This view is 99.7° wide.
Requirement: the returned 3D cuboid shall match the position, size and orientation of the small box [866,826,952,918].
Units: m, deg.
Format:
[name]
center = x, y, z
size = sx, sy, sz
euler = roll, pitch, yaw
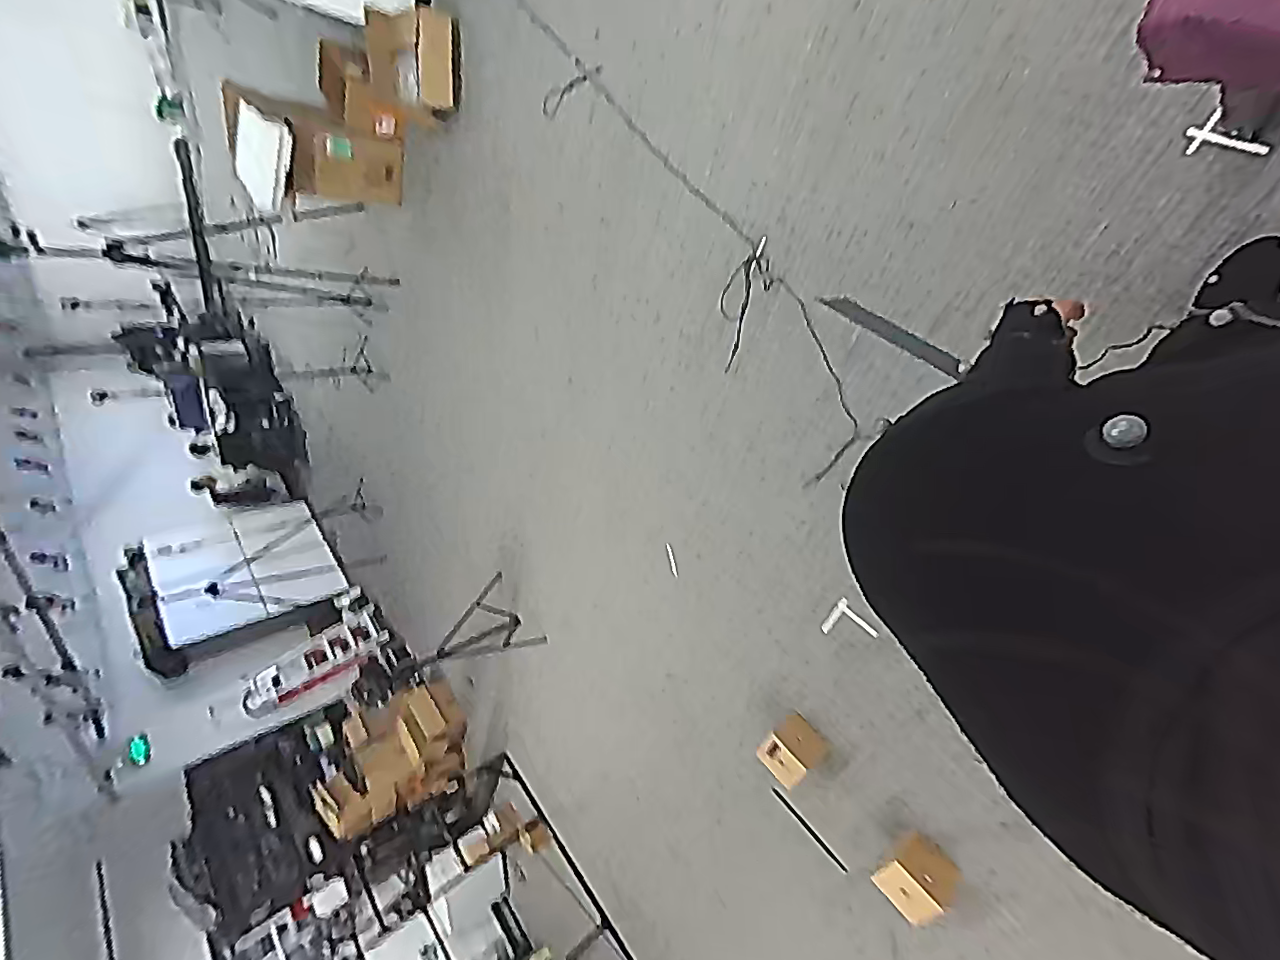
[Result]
[small box]
center = 0.924, 1.334, 1.856
size = 0.179, 0.176, 0.168
euler = 42, 130, 29
